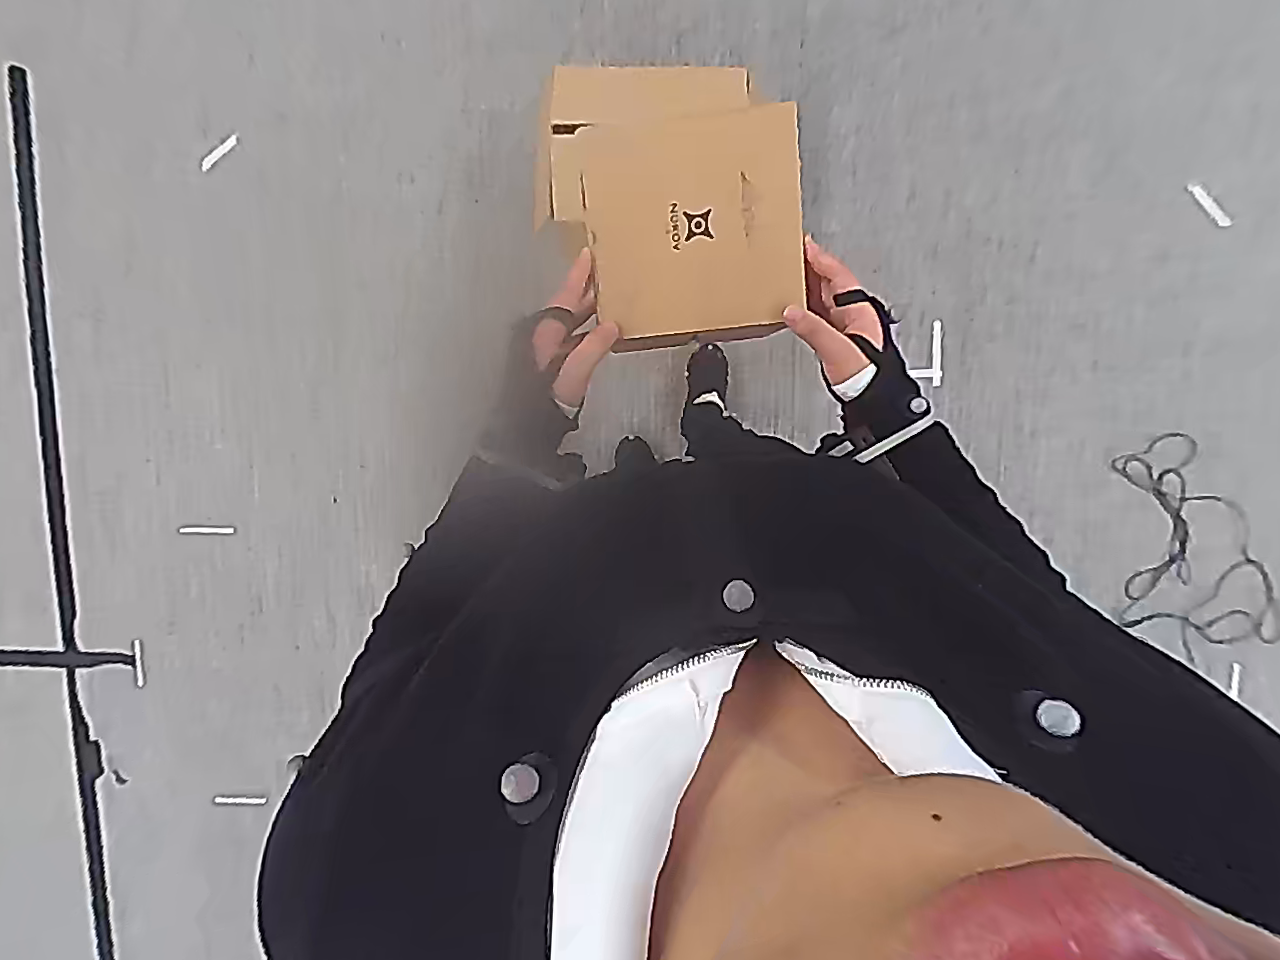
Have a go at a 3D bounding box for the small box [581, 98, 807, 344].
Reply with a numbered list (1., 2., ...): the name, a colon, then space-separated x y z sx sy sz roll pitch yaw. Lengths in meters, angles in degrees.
1. small box: 0.047 -0.228 0.522 0.179 0.176 0.168 -7 100 1
